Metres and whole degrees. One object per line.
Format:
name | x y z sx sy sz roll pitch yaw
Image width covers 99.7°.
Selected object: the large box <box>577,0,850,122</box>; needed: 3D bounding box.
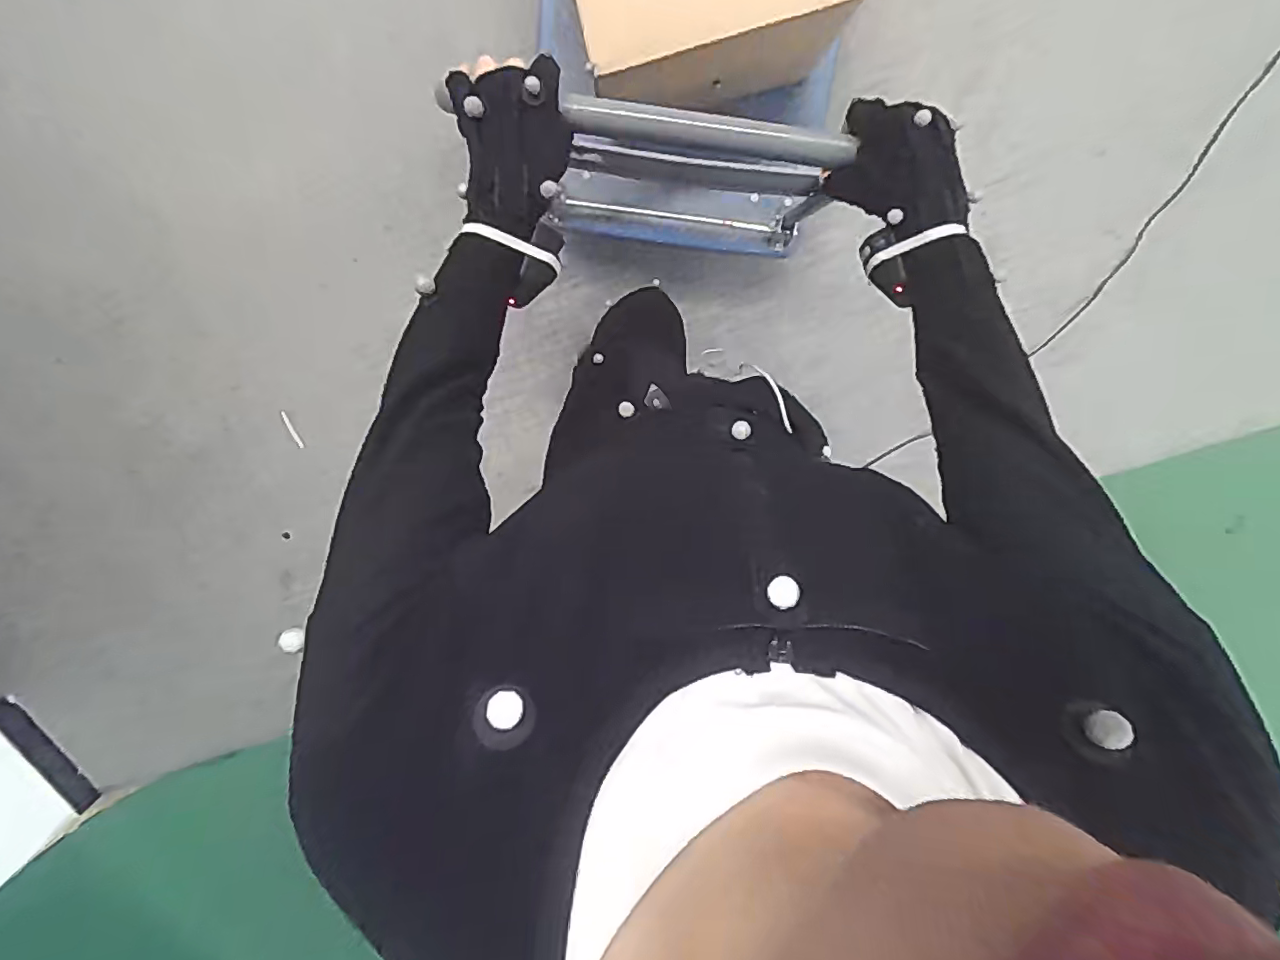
large box | 0.094 -0.844 0.872 0.408 0.320 0.320 -12 108 7
